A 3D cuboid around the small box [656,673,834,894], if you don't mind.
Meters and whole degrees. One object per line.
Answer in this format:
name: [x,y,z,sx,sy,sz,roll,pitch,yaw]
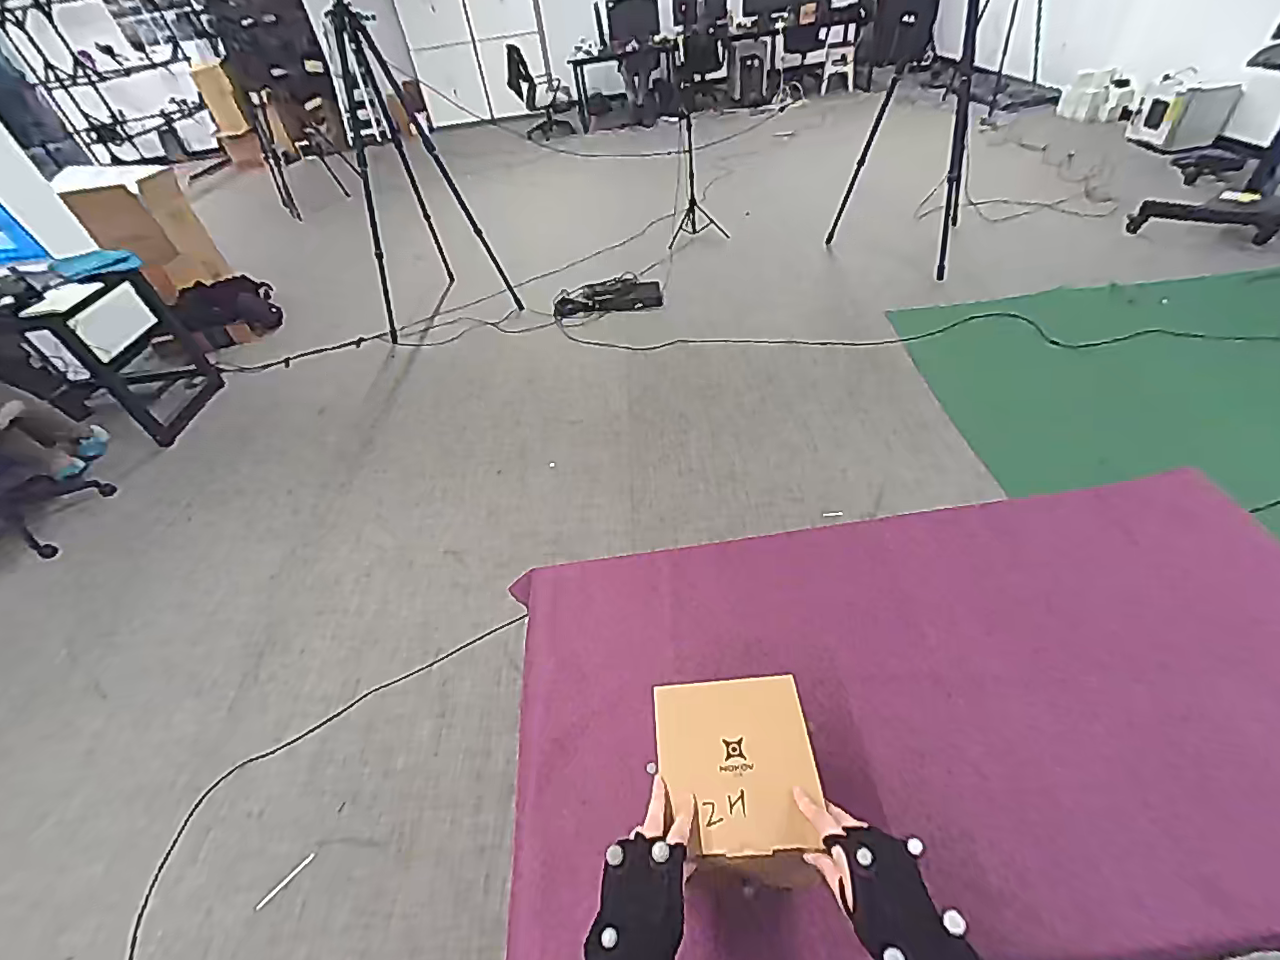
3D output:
small box: [0.110,0.352,0.629,0.168,0.176,0.179,-7,43,3]
